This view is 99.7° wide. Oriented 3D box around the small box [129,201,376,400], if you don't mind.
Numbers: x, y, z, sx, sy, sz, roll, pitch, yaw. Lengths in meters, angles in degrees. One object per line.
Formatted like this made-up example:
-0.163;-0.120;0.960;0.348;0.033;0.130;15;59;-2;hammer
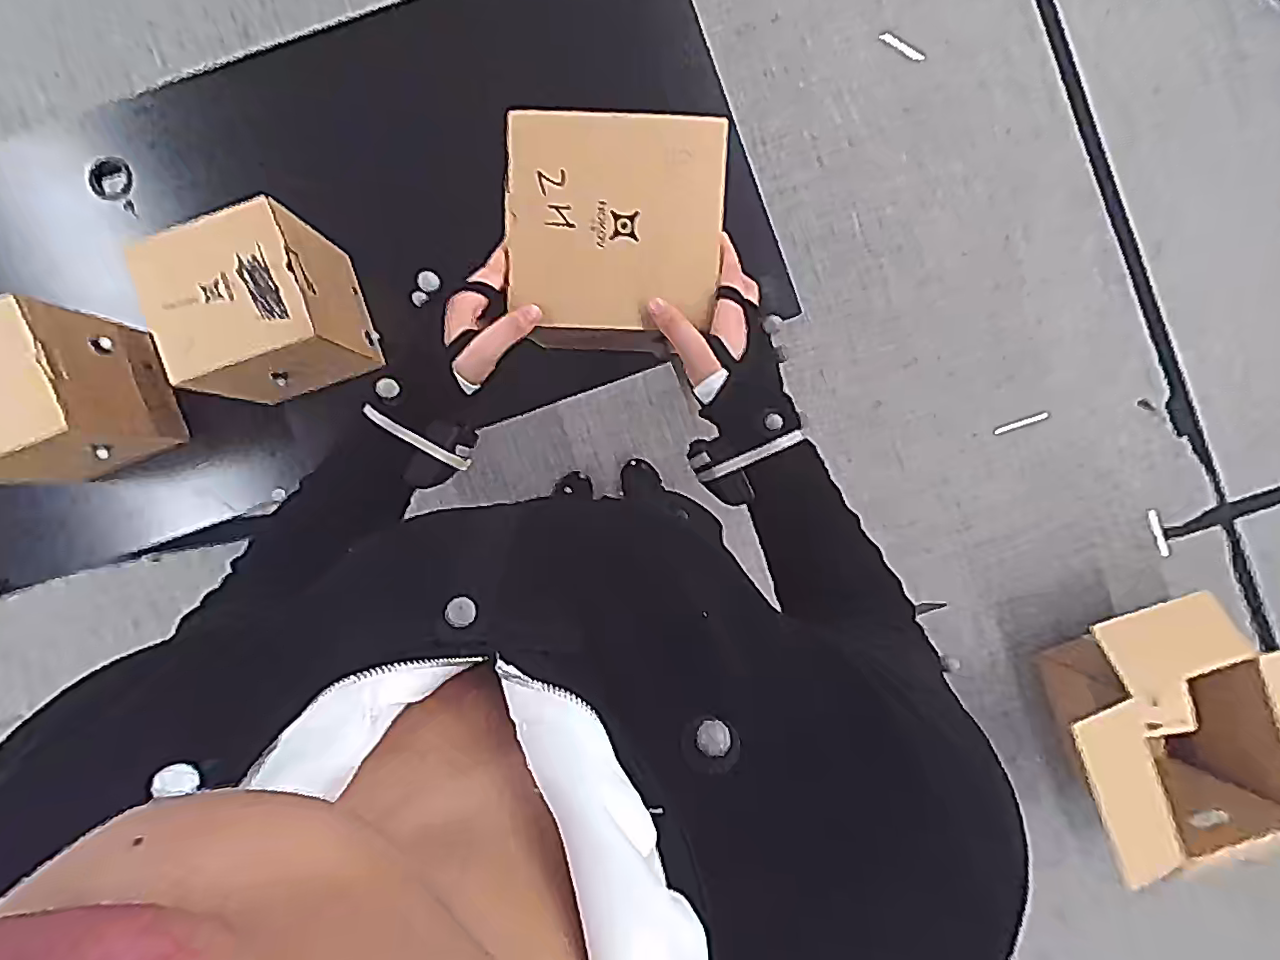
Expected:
-0.465;-0.211;0.685;0.179;0.176;0.168;-19;90;1;small box

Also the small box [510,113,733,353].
-0.016;-0.216;0.517;0.179;0.176;0.168;3;98;1;small box

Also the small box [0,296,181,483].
-0.740;-0.103;0.686;0.179;0.176;0.168;-22;90;0;small box
